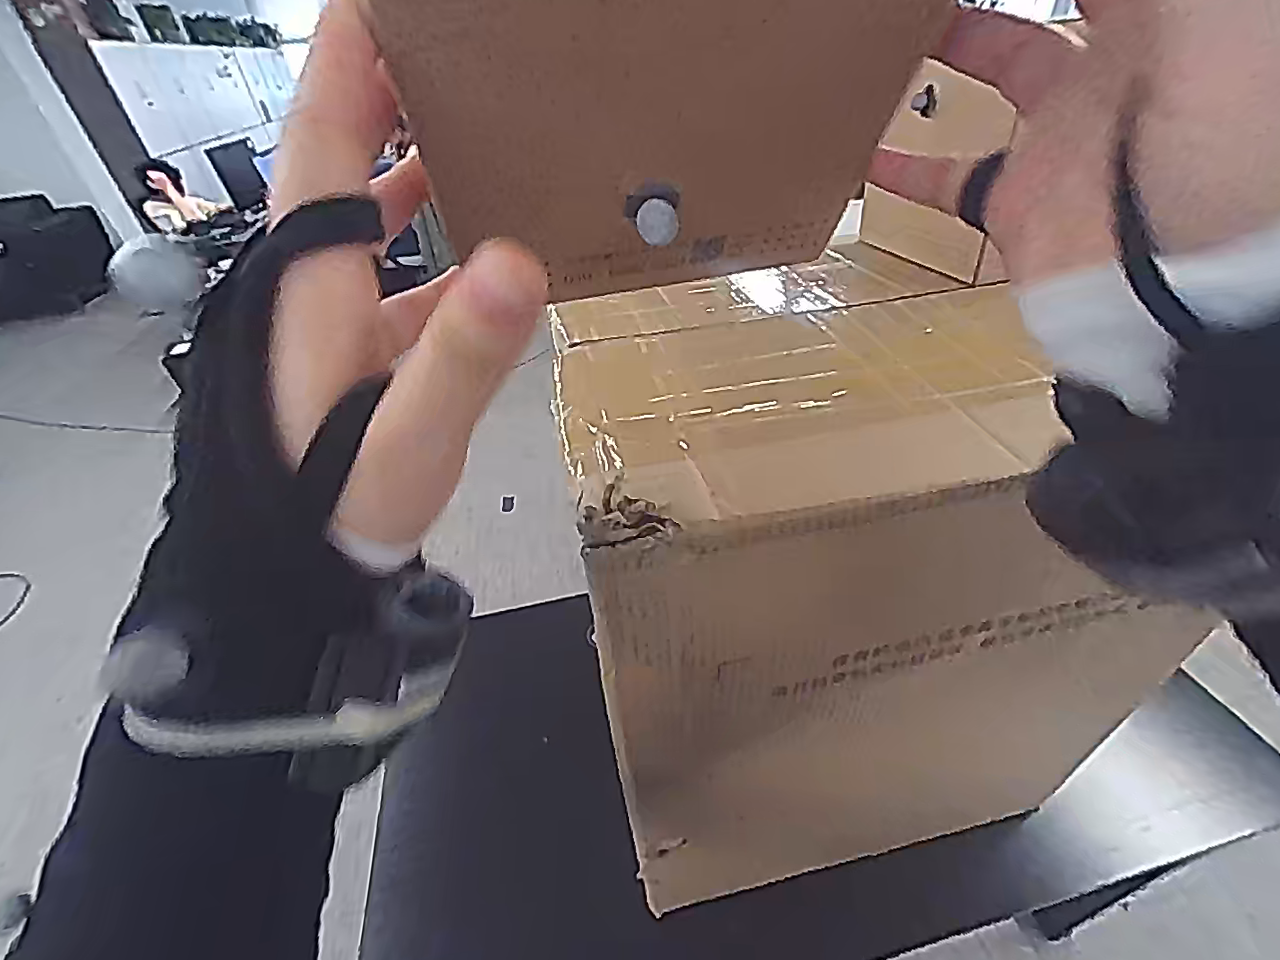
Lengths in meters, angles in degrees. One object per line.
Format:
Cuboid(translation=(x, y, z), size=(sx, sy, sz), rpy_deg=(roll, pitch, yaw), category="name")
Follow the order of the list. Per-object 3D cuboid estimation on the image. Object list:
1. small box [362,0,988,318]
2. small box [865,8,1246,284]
Cuboid(translation=(-0.005, -0.185, 0.187), size=(0.168, 0.176, 0.179), rpy_deg=(-11, 74, -8), category="small box")
Cuboid(translation=(0.321, -0.283, 0.470), size=(0.168, 0.176, 0.179), rpy_deg=(-12, 37, -7), category="small box")
